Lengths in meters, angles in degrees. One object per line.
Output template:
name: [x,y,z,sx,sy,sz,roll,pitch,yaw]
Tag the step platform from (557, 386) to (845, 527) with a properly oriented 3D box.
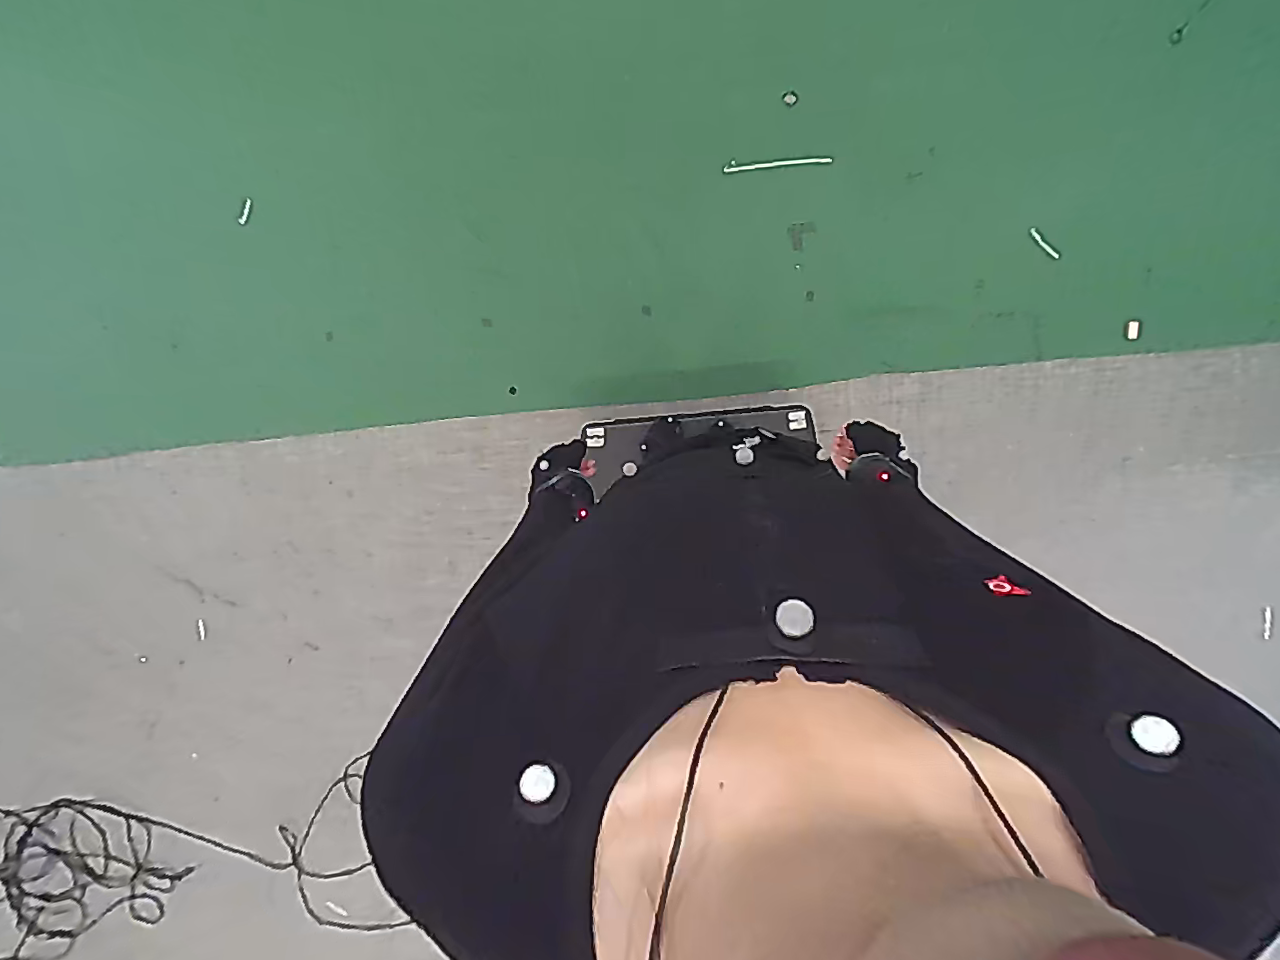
step platform: [0.147,-0.065,1.378,0.684,0.204,0.286,-6,97,3]
